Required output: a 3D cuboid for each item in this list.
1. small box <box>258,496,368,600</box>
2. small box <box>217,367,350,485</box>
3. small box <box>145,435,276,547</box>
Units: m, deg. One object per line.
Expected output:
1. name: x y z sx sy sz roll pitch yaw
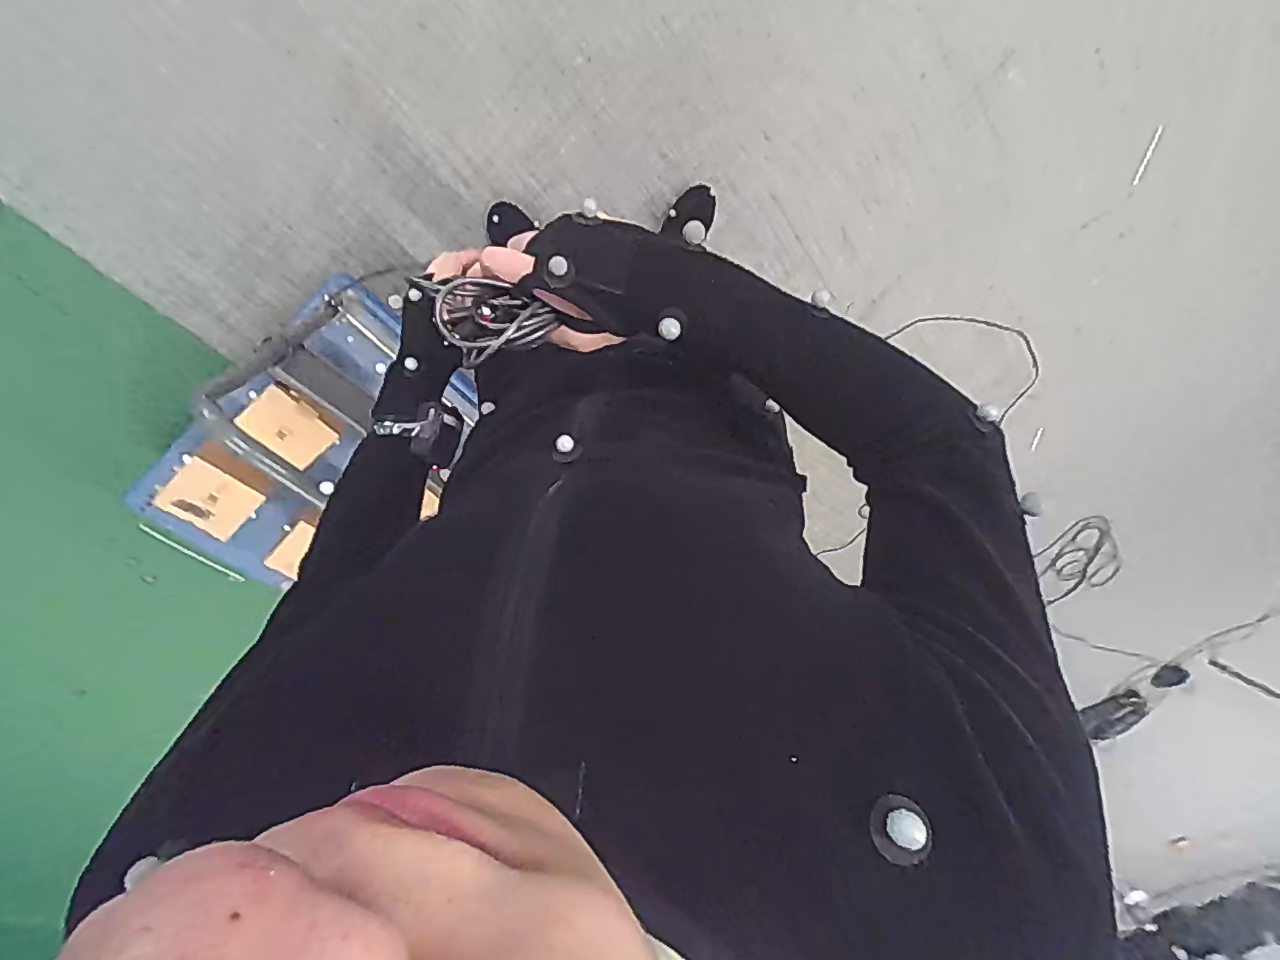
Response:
1. small box: -0.848 0.175 1.425 0.179 0.176 0.168 -41 119 14
2. small box: -0.809 -0.129 1.251 0.179 0.176 0.168 -37 120 11
3. small box: -1.011 0.020 1.299 0.179 0.176 0.168 -40 121 12
